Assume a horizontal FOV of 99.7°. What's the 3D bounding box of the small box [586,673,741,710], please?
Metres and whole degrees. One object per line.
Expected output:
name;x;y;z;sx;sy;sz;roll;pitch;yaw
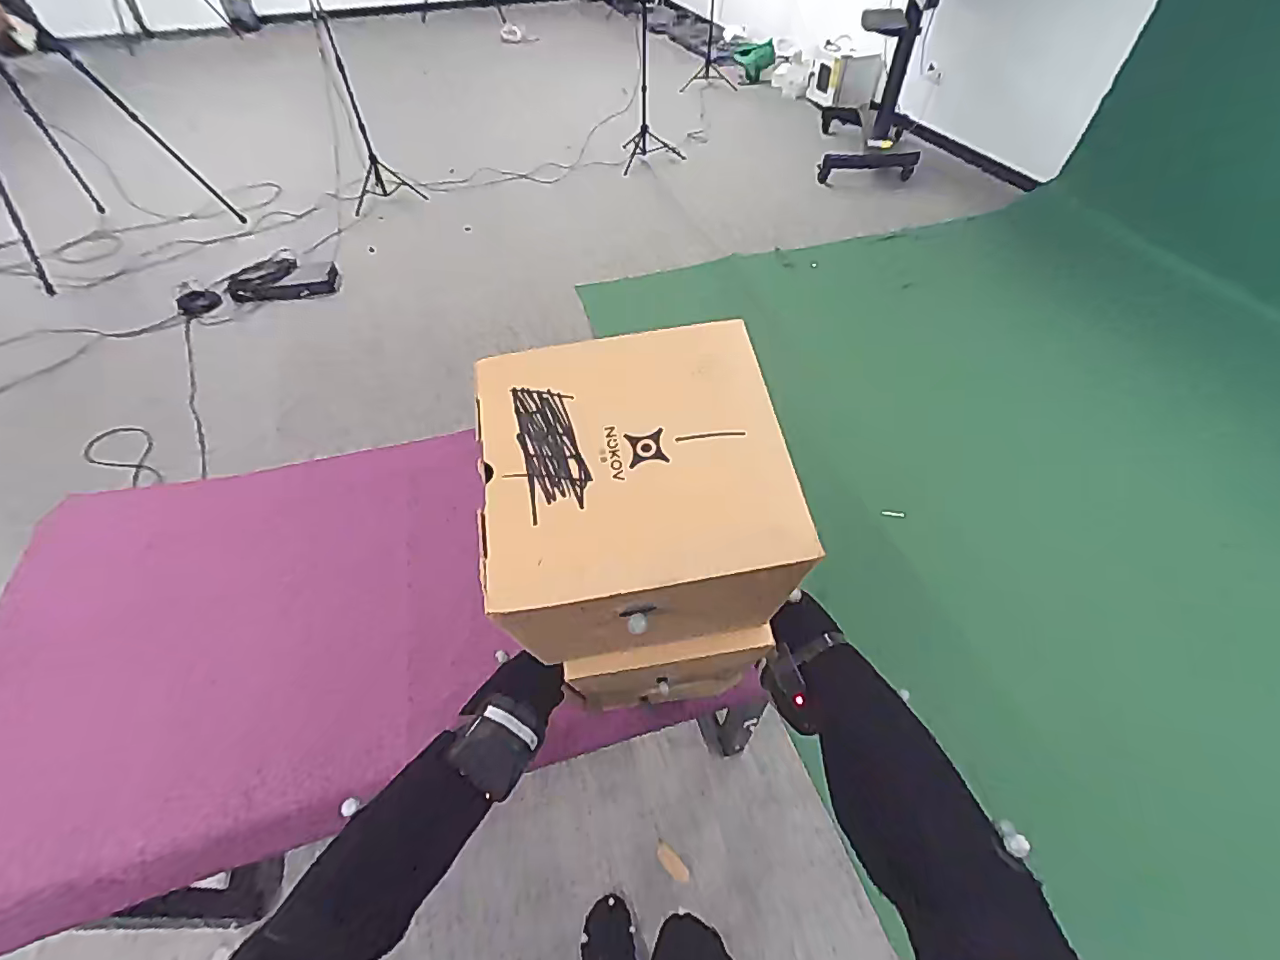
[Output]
small box;0.019;0.180;0.667;0.168;0.176;0.179;-7;63;-3

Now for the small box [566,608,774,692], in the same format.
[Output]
small box;0.016;0.101;0.522;0.168;0.176;0.179;-8;62;-3

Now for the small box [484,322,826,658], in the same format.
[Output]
small box;0.001;0.018;0.380;0.179;0.176;0.168;-9;63;-4
